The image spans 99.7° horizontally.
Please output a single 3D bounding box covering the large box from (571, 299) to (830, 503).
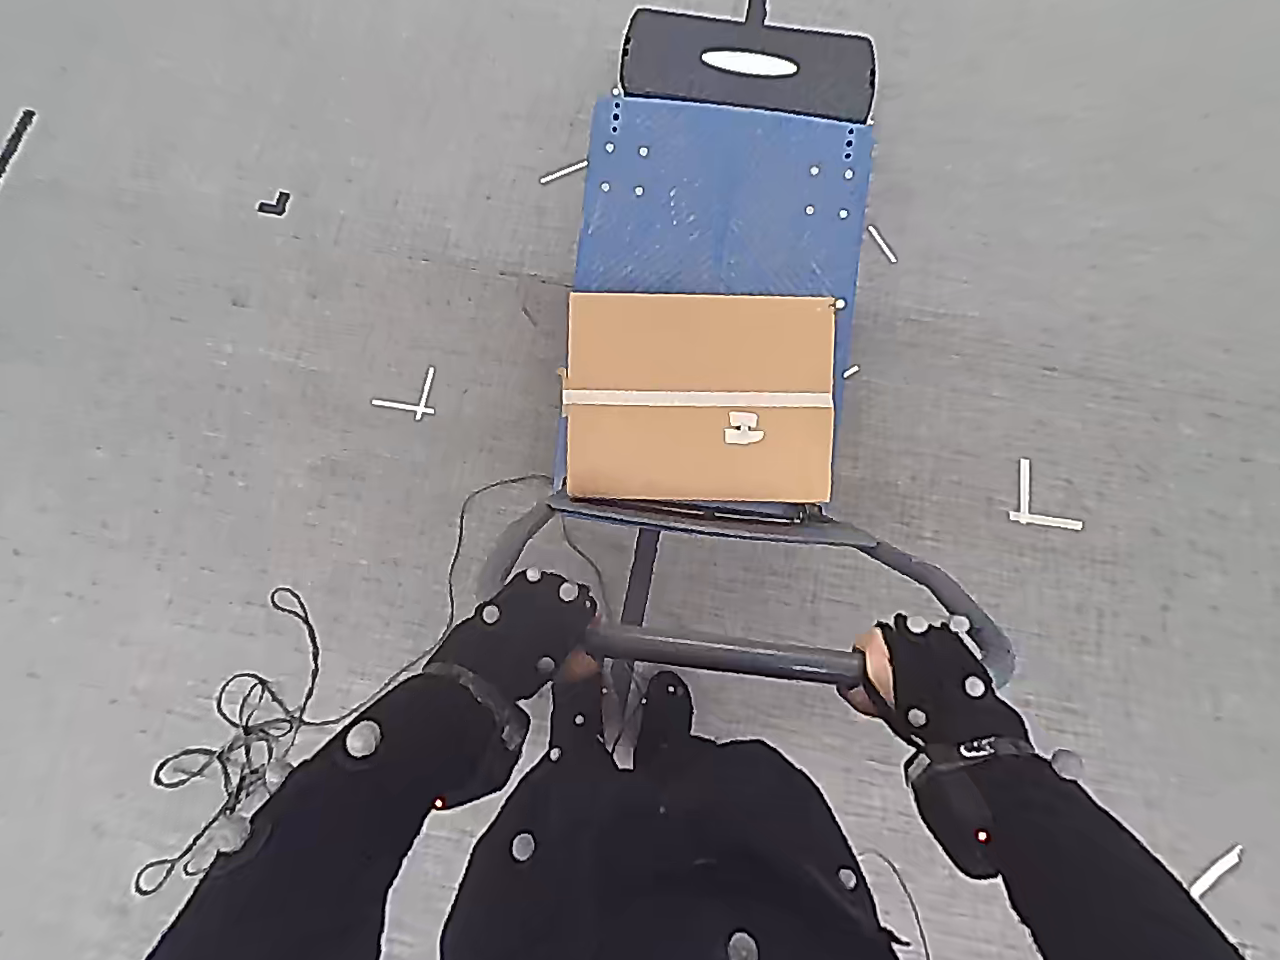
[{"bbox_3d":[0.089,-0.124,0.977,0.408,0.320,0.320,1,92,-1],"label":"large box"}]
